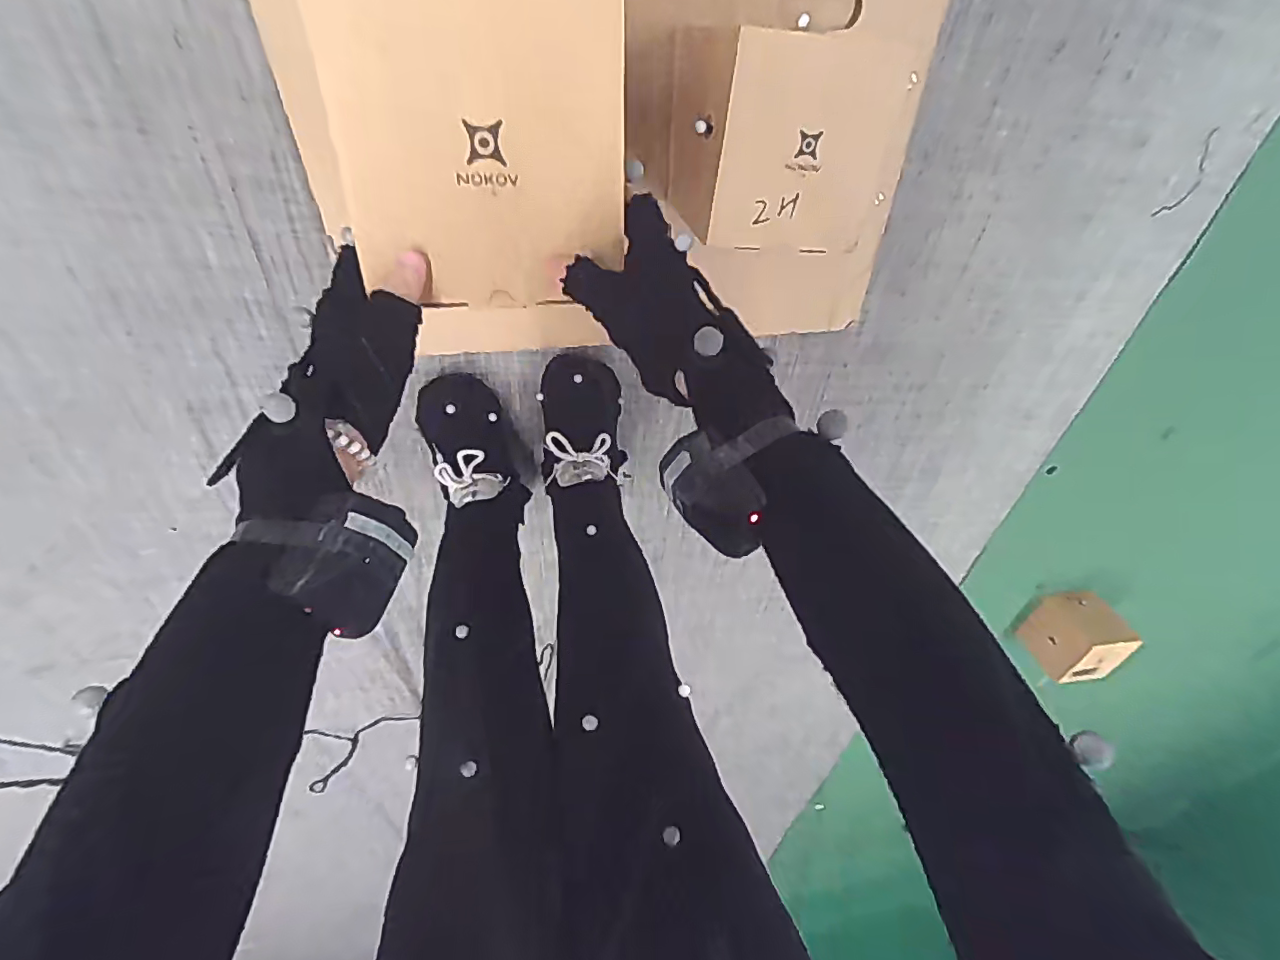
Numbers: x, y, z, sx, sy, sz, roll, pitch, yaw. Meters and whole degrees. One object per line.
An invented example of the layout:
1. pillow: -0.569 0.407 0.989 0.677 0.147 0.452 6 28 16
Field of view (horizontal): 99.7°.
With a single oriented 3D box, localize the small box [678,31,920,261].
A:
1. small box: 0.143 -0.349 0.566 0.168 0.176 0.179 -1 130 -11
